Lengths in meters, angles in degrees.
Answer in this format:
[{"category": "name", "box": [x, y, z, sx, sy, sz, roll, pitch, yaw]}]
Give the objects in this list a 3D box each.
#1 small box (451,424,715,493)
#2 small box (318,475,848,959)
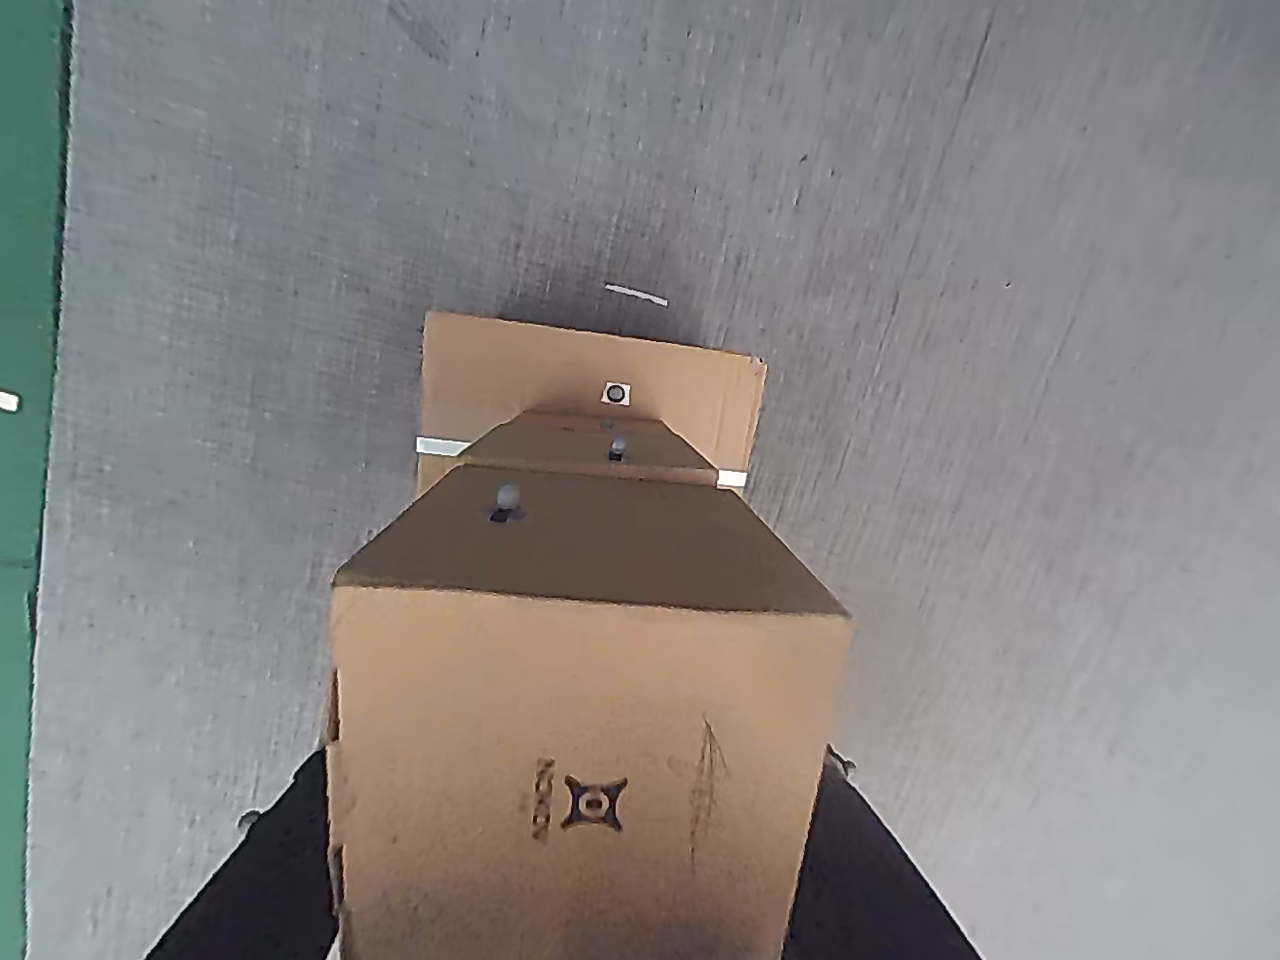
[{"category": "small box", "box": [-0.045, 0.058, 0.429, 0.168, 0.176, 0.179, 3, 103, -5]}, {"category": "small box", "box": [-0.029, 0.098, 0.272, 0.179, 0.176, 0.168, 4, 104, -6]}]
